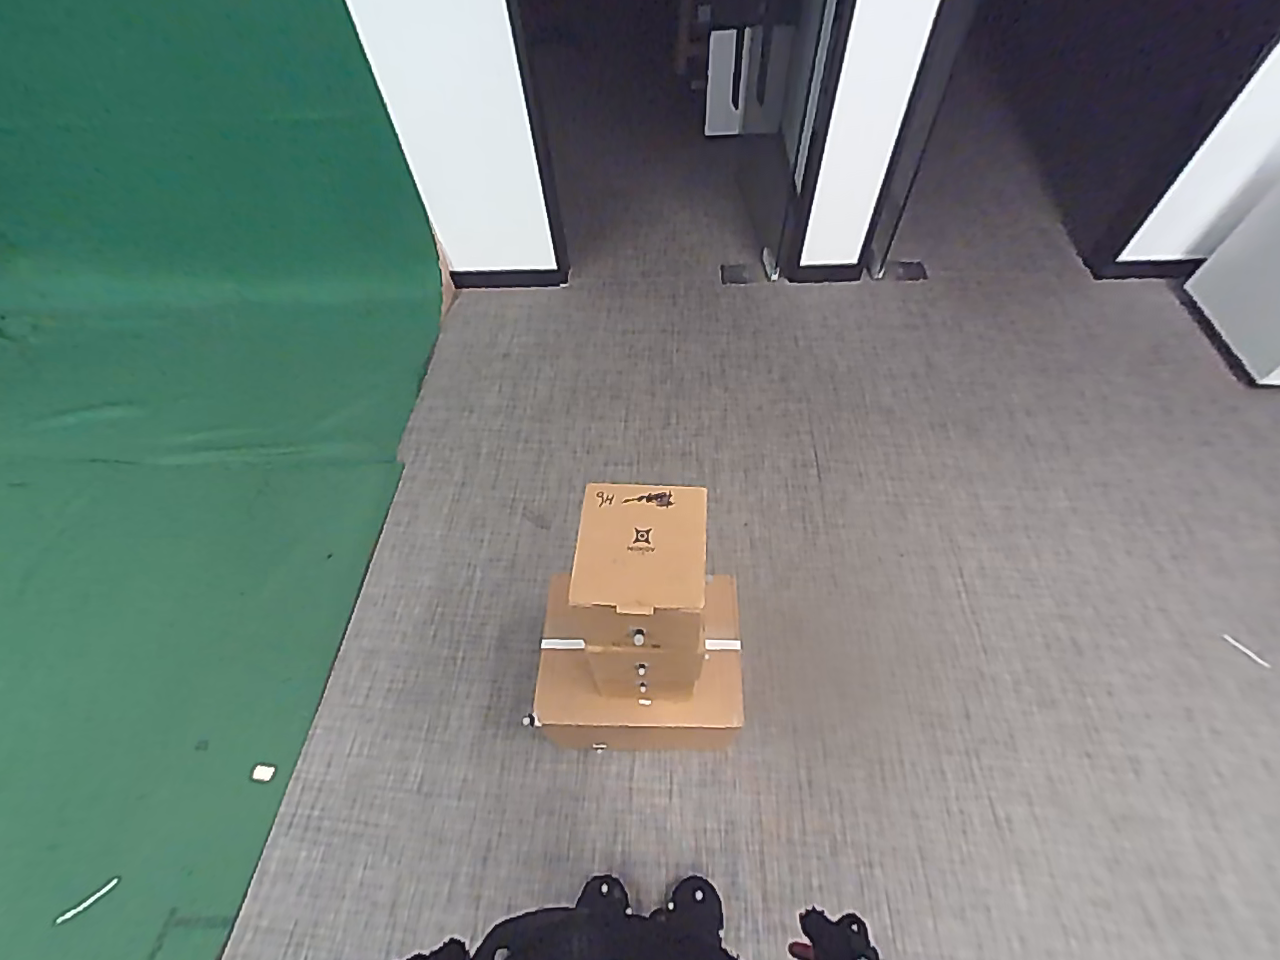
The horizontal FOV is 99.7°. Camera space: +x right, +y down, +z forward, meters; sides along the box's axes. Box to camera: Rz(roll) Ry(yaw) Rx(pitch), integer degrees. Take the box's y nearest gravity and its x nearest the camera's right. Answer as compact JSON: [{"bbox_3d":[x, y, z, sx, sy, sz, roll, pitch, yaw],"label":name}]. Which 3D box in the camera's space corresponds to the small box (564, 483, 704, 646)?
[{"bbox_3d":[0.003,0.122,0.753,0.168,0.176,0.179,3,58,6],"label":"small box"}]

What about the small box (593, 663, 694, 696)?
[{"bbox_3d":[0.013,0.305,1.025,0.179,0.176,0.168,2,57,3],"label":"small box"}]

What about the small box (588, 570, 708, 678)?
[{"bbox_3d":[0.012,0.220,0.884,0.179,0.176,0.168,-2,57,1],"label":"small box"}]
